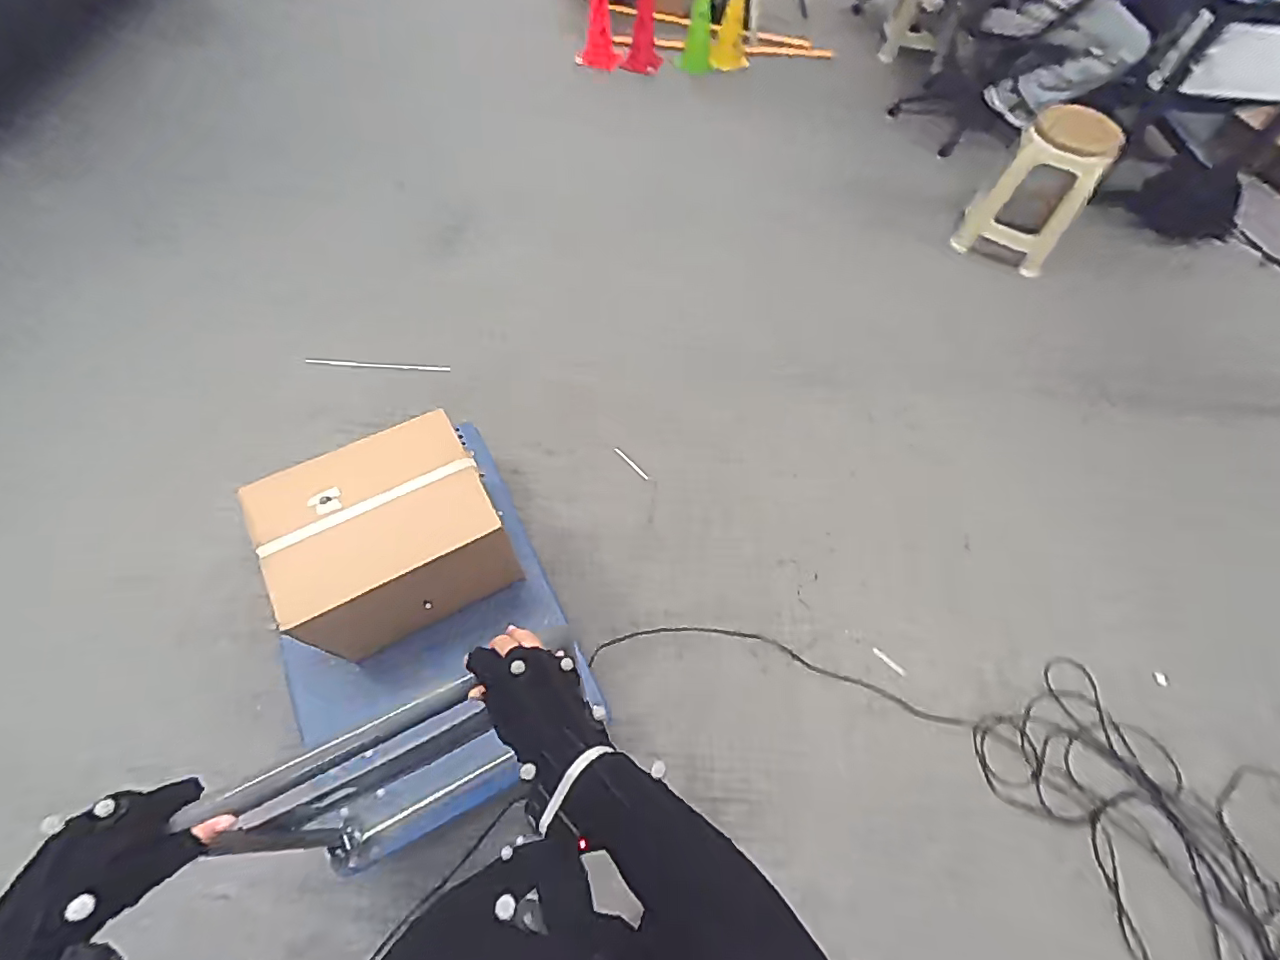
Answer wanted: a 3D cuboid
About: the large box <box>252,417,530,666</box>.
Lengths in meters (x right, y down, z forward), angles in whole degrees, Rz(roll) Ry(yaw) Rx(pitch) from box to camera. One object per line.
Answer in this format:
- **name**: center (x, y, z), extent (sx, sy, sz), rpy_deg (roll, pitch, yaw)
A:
- **large box**: center (-0.499, 0.138, 1.158), extent (0.408, 0.320, 0.320), rpy_deg (-28, 66, -16)
